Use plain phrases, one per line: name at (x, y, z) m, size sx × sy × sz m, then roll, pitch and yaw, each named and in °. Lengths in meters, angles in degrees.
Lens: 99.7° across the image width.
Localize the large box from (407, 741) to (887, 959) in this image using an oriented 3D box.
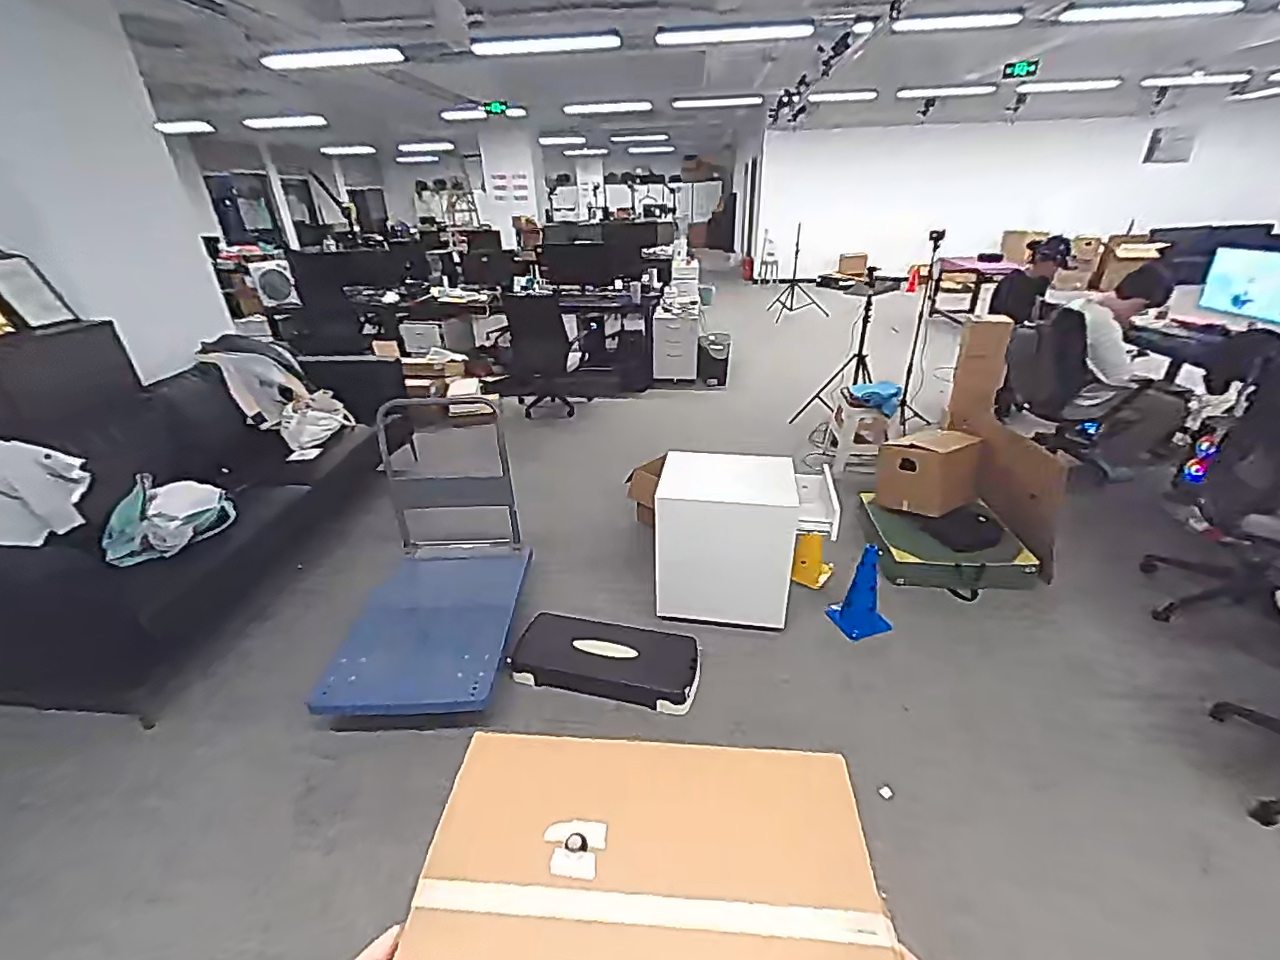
large box at (0.016, 0.501, 0.554) m, size 0.408 × 0.320 × 0.320 m, roll -1°, pitch 32°, yaw 6°
